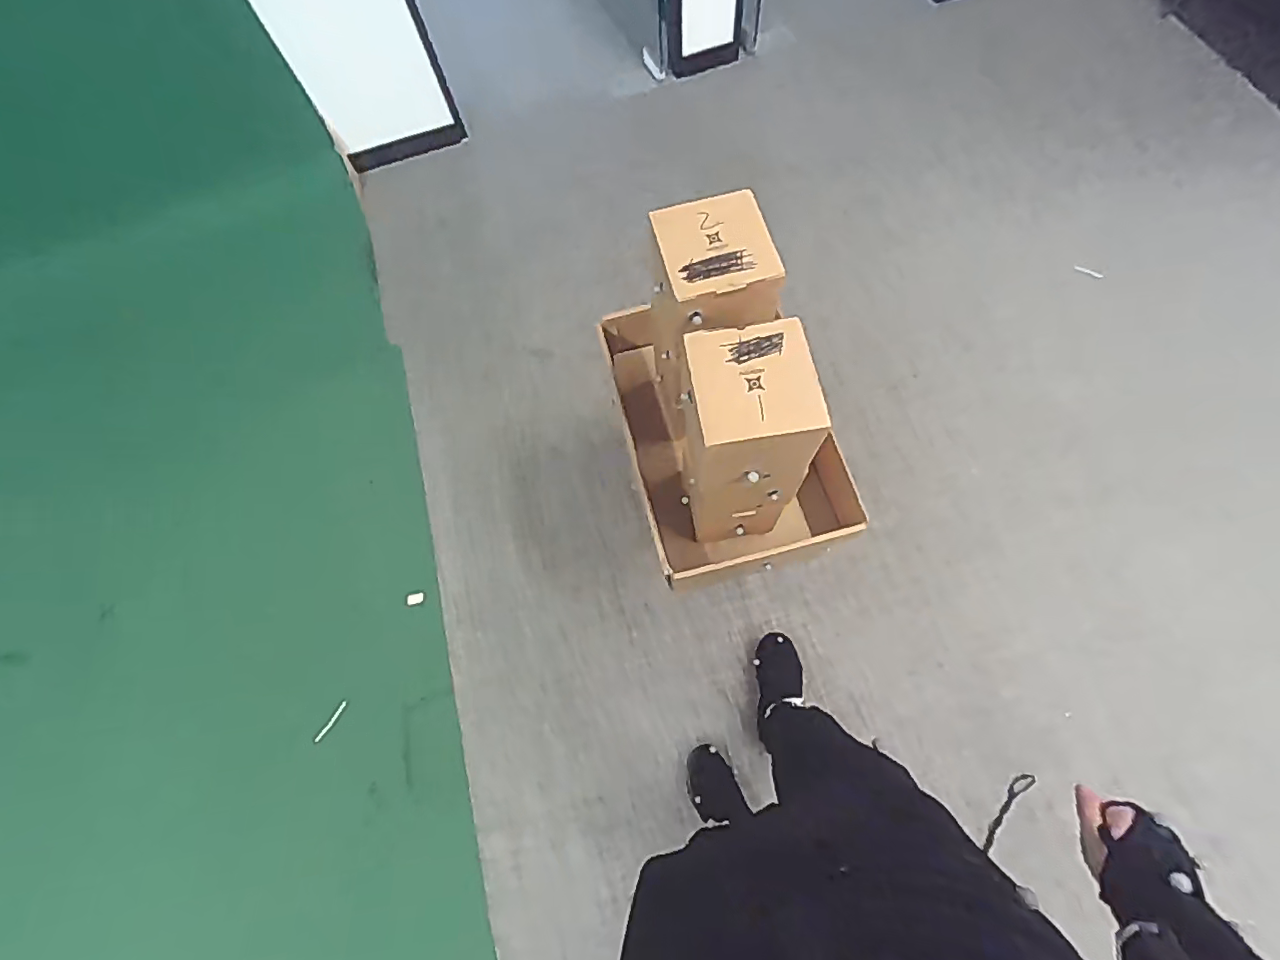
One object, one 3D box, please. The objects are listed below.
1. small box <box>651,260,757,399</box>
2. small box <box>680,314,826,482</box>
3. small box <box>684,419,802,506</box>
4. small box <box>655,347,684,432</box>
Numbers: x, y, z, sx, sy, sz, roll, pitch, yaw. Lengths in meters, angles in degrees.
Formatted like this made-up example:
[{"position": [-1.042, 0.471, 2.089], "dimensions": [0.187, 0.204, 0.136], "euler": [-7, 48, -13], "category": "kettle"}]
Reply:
[{"position": [0.119, -0.283, 1.042], "dimensions": [0.168, 0.176, 0.179], "euler": [-15, 71, -2], "category": "small box"}, {"position": [0.152, -0.113, 0.797], "dimensions": [0.168, 0.176, 0.179], "euler": [-8, 70, 0], "category": "small box"}, {"position": [0.171, -0.061, 0.952], "dimensions": [0.168, 0.176, 0.179], "euler": [-8, 68, 0], "category": "small box"}, {"position": [0.128, -0.231, 1.195], "dimensions": [0.168, 0.176, 0.179], "euler": [-15, 71, -1], "category": "small box"}]
